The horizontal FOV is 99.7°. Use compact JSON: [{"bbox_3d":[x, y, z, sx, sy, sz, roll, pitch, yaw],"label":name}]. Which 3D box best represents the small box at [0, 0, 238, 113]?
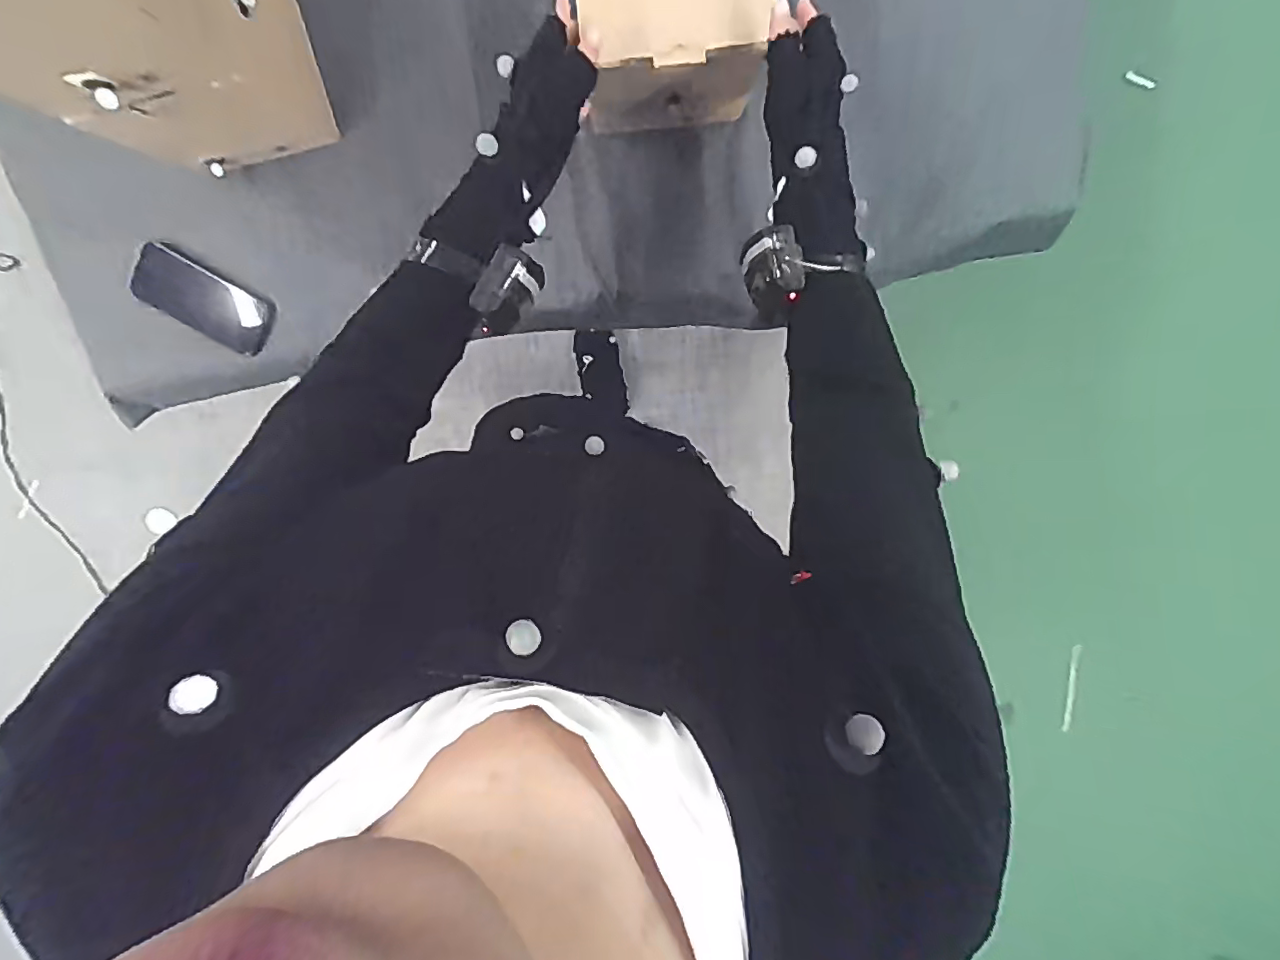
[{"bbox_3d":[-0.427,-0.386,0.357,0.168,0.176,0.179,-13,107,3],"label":"small box"}]

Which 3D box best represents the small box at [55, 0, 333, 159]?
[{"bbox_3d":[-0.433,-0.430,0.513,0.168,0.176,0.179,-12,105,2],"label":"small box"}]

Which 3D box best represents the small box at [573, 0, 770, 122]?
[{"bbox_3d":[0.022,-0.464,0.511,0.168,0.176,0.179,-6,107,1],"label":"small box"}]
